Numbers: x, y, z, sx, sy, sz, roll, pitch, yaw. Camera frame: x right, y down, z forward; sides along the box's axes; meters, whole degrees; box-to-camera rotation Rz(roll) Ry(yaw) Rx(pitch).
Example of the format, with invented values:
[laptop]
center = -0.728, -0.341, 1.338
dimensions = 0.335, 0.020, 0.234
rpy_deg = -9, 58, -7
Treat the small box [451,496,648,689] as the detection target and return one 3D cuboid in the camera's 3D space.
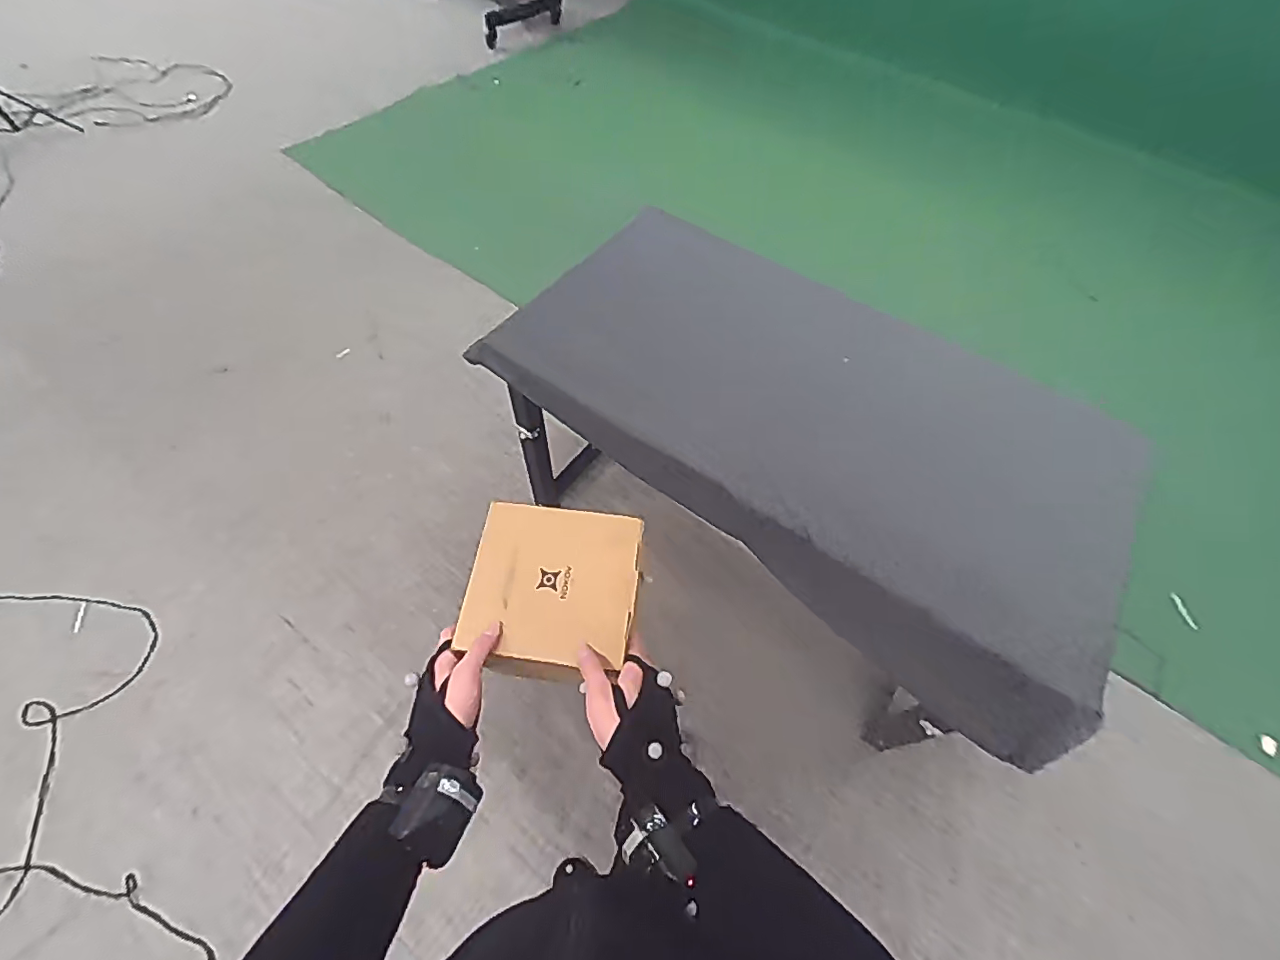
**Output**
[small box]
center = -0.087, 0.137, 0.624
dimensions = 0.179, 0.176, 0.168
rpy_deg = 6, 60, 4
